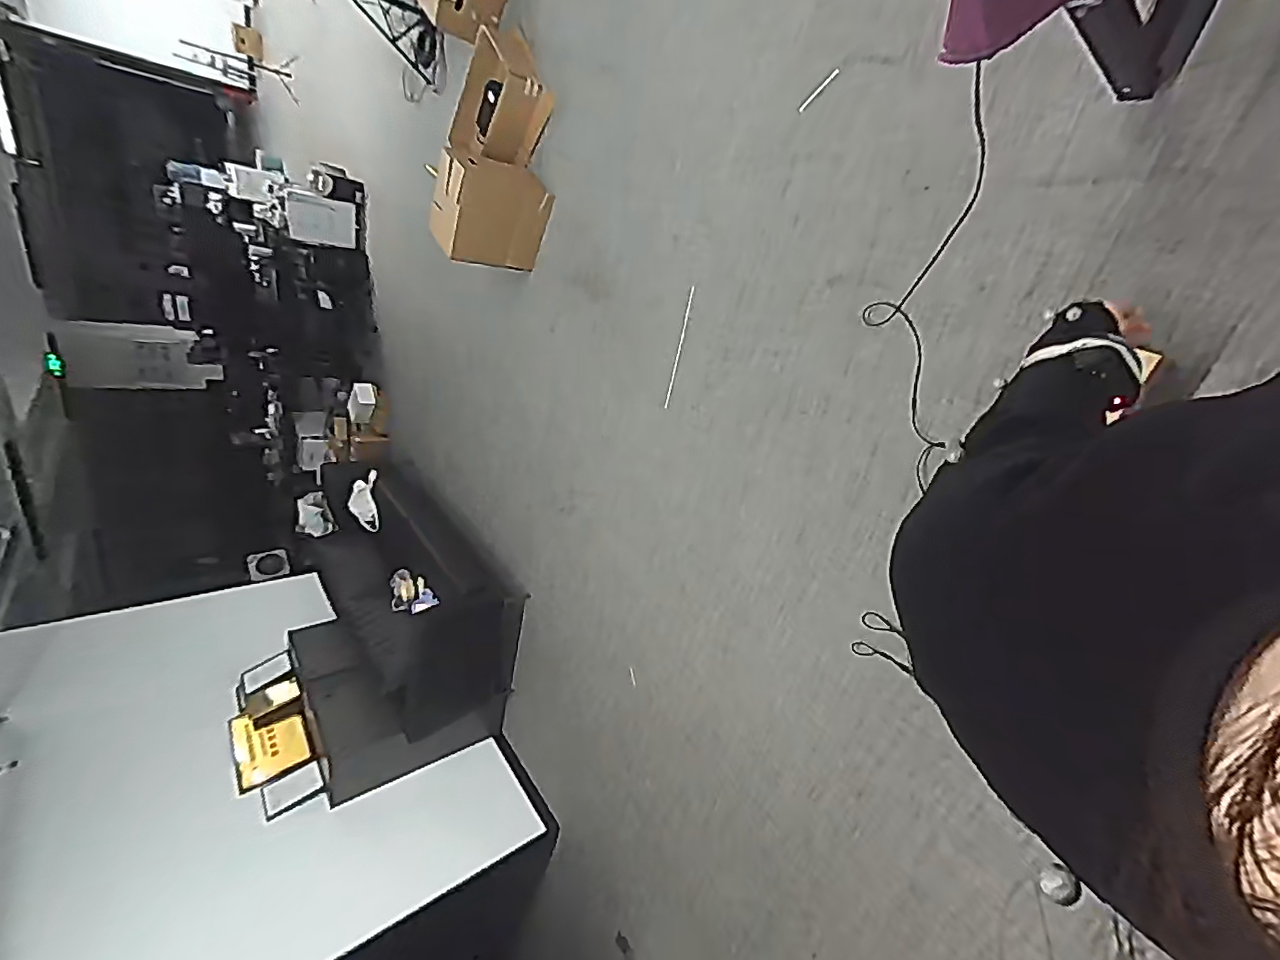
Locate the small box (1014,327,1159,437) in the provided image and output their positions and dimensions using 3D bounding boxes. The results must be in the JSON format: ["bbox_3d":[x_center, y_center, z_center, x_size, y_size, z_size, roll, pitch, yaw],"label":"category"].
[{"bbox_3d":[0.942,-0.206,1.139,0.168,0.176,0.179,39,123,38],"label":"small box"}]
